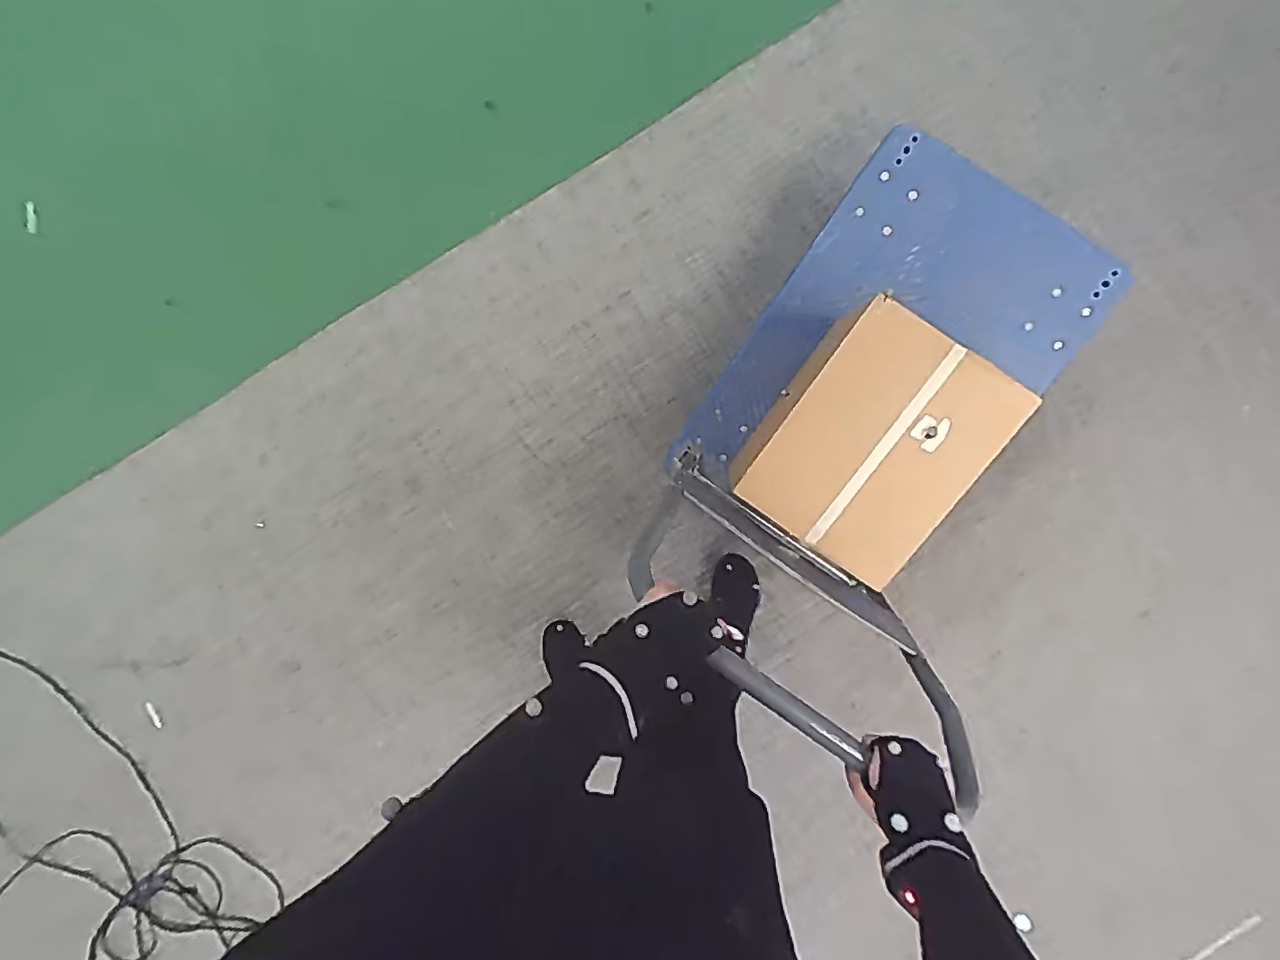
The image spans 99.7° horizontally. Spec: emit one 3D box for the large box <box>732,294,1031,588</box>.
[{"bbox_3d":[0.414,-0.075,1.050,0.320,0.320,0.408,35,101,1],"label":"large box"}]
